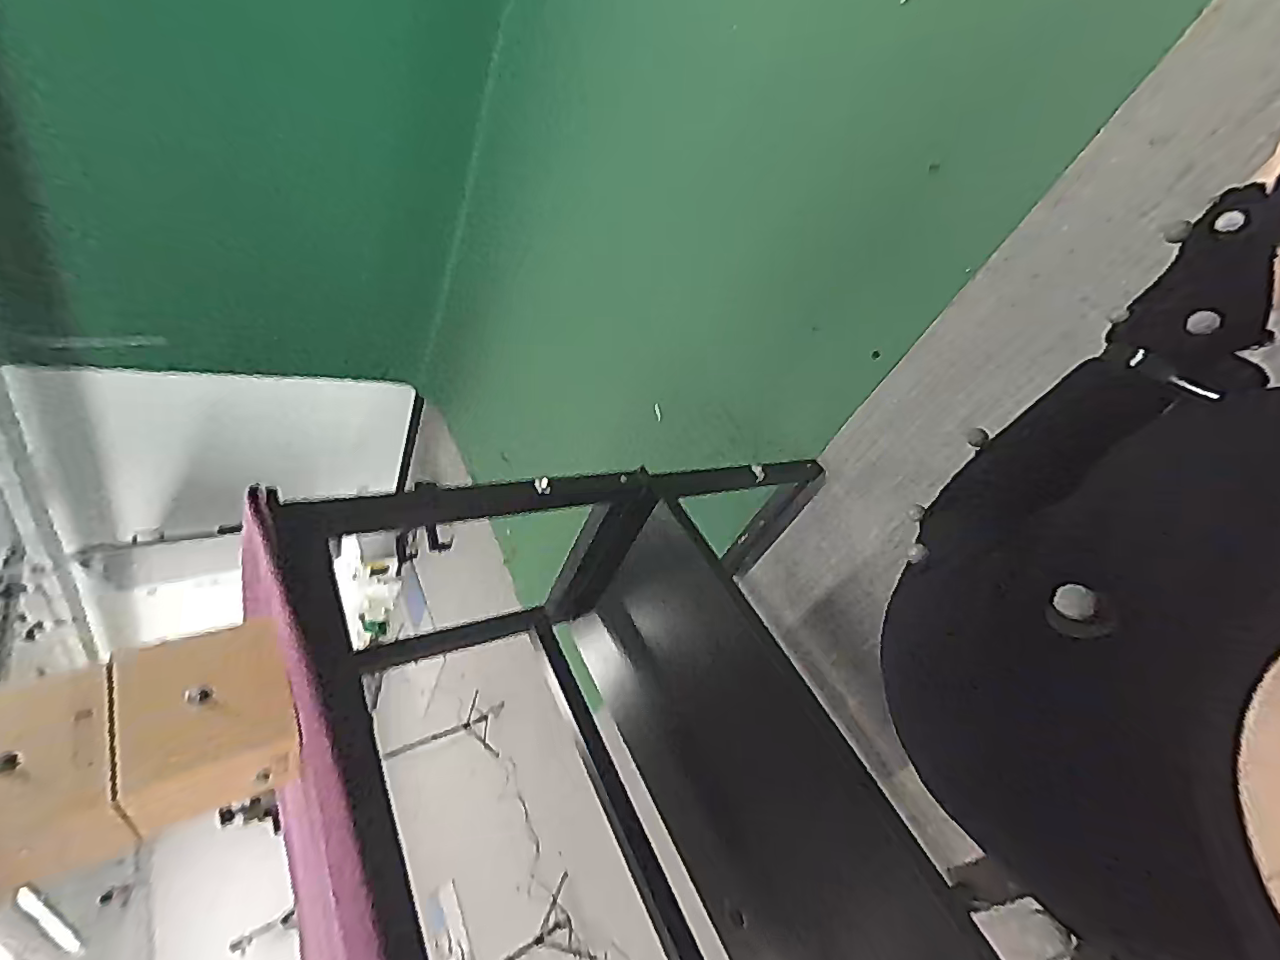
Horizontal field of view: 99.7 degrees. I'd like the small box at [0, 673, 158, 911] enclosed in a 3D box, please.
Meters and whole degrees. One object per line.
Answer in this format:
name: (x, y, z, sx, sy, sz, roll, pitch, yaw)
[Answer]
small box: (-0.660, 0.341, 0.593, 0.168, 0.176, 0.179, 56, 136, 28)
